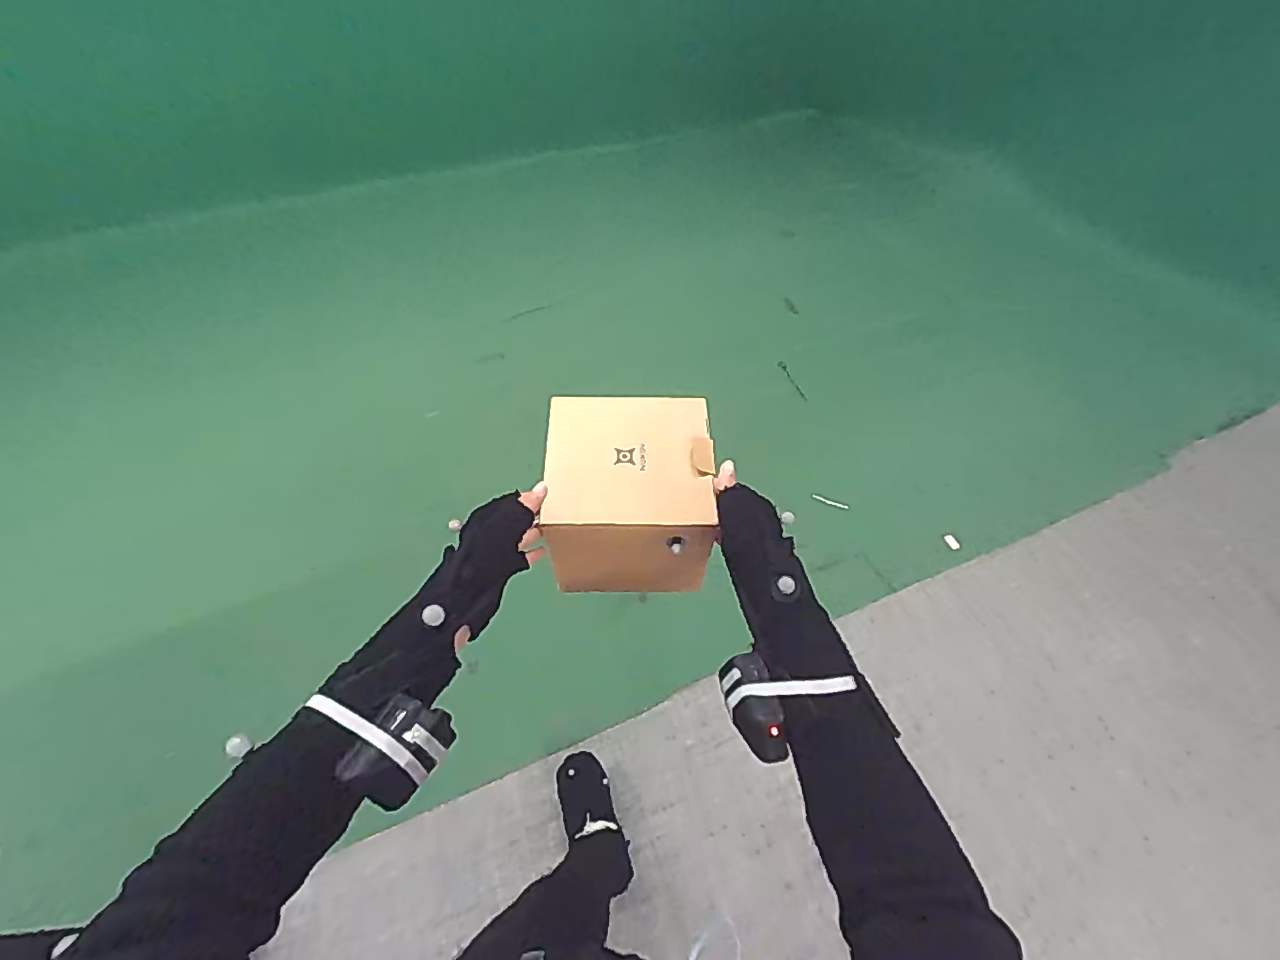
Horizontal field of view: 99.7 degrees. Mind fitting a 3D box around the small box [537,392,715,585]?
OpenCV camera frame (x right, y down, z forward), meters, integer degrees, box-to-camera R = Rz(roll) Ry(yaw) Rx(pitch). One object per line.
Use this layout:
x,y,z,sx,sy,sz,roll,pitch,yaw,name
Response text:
-0.015,0.015,0.630,0.179,0.176,0.168,0,56,-2,small box
